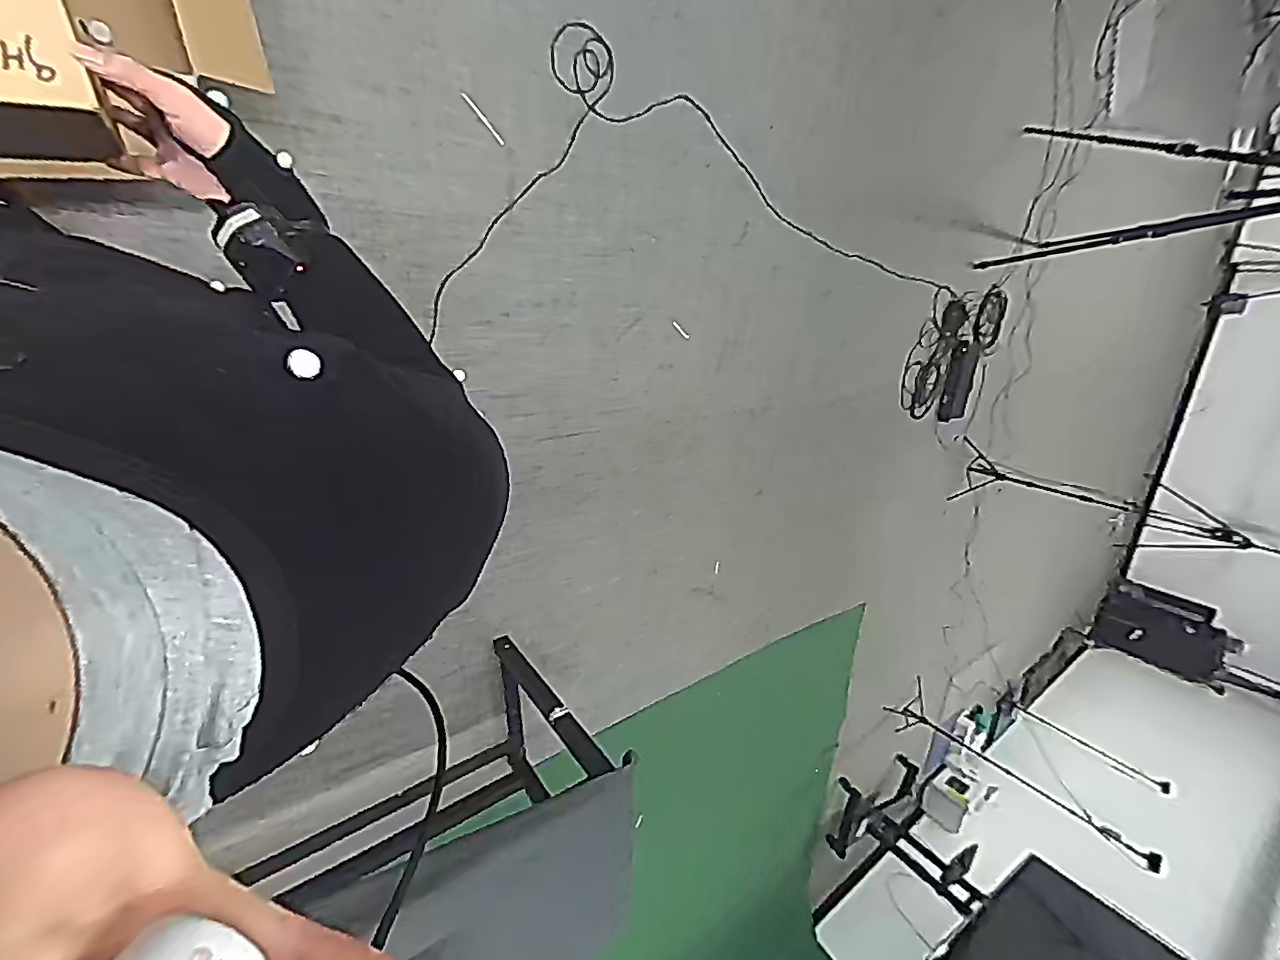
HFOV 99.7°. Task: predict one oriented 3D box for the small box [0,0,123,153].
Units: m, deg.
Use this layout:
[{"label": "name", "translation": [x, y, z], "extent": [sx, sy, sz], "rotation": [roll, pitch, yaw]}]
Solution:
[{"label": "small box", "translation": [-0.491, -0.342, 0.360], "extent": [0.168, 0.176, 0.179], "rotation": [-17, 114, -32]}]
